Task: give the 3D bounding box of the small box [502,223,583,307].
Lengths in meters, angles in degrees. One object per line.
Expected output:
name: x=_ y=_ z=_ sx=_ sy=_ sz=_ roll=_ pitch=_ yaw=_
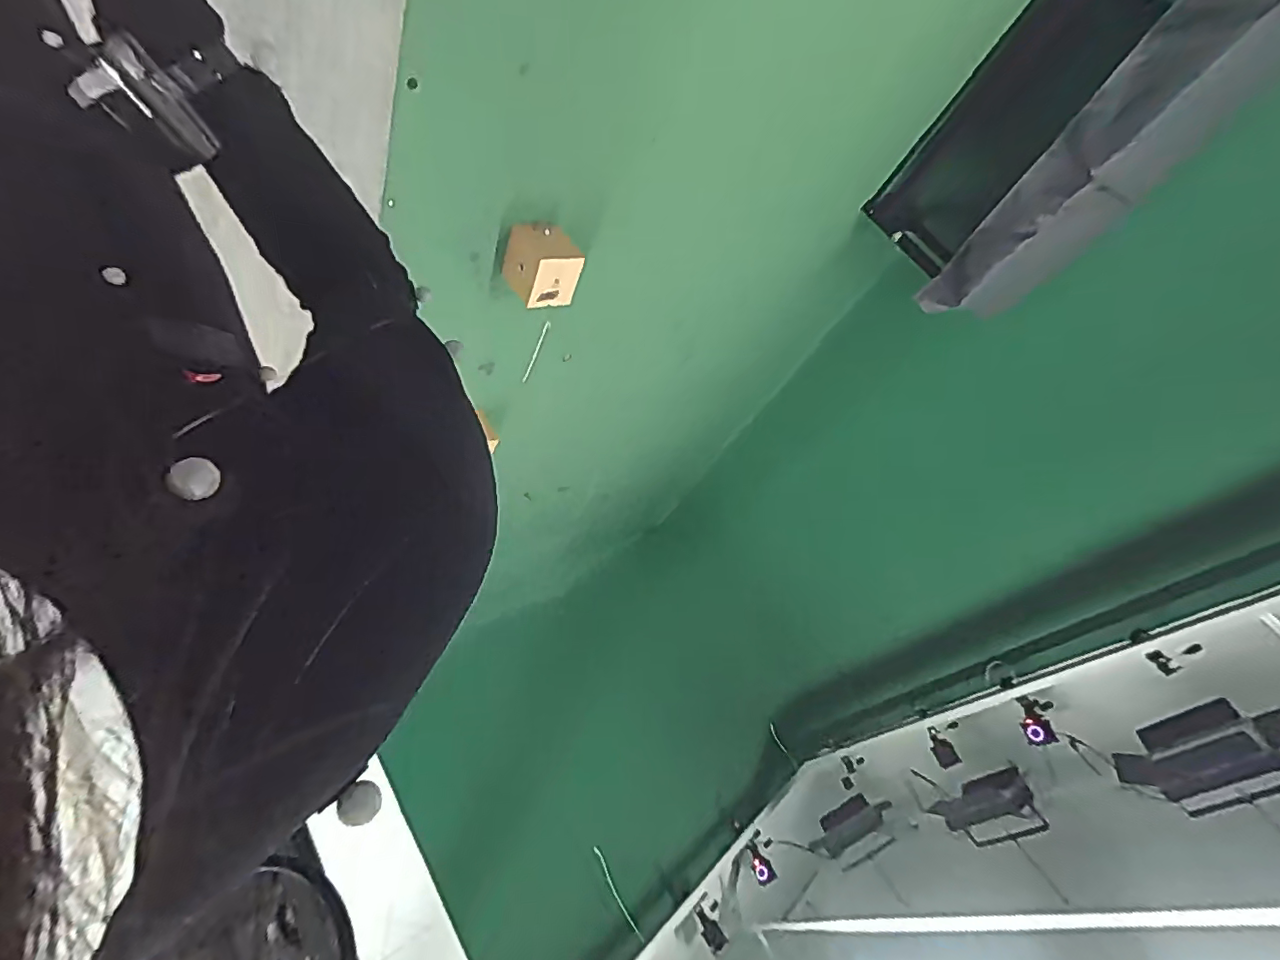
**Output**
small box: x=-0.308 y=-0.664 z=1.677 sx=0.168 sy=0.176 sz=0.179 roll=-21 pitch=156 yaw=-39
